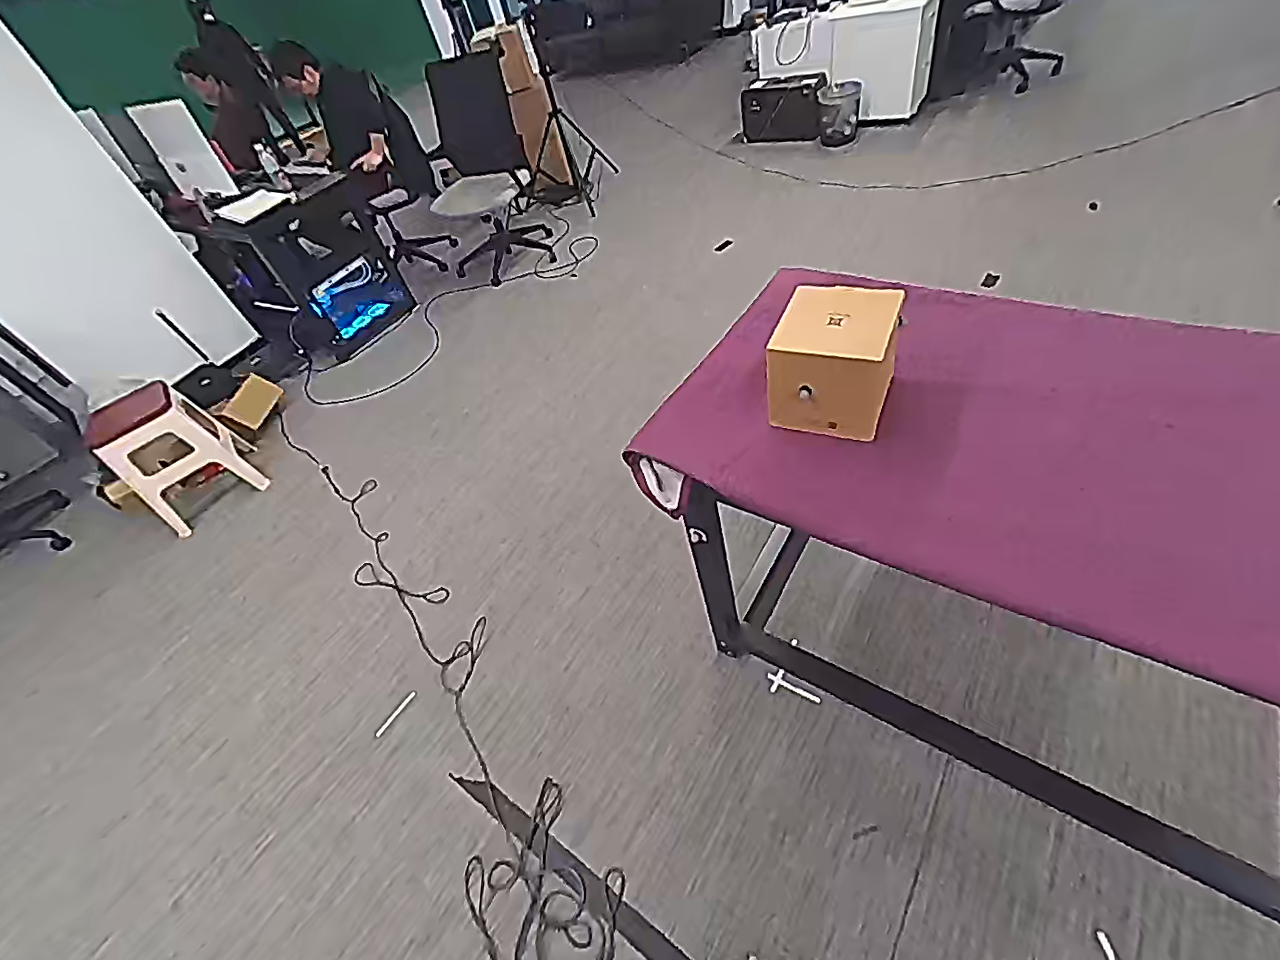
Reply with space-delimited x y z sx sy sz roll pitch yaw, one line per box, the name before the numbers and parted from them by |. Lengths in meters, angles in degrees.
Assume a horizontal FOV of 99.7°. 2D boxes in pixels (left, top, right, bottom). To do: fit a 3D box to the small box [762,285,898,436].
small box | 0.309 -0.193 0.879 0.168 0.176 0.179 13 54 26
